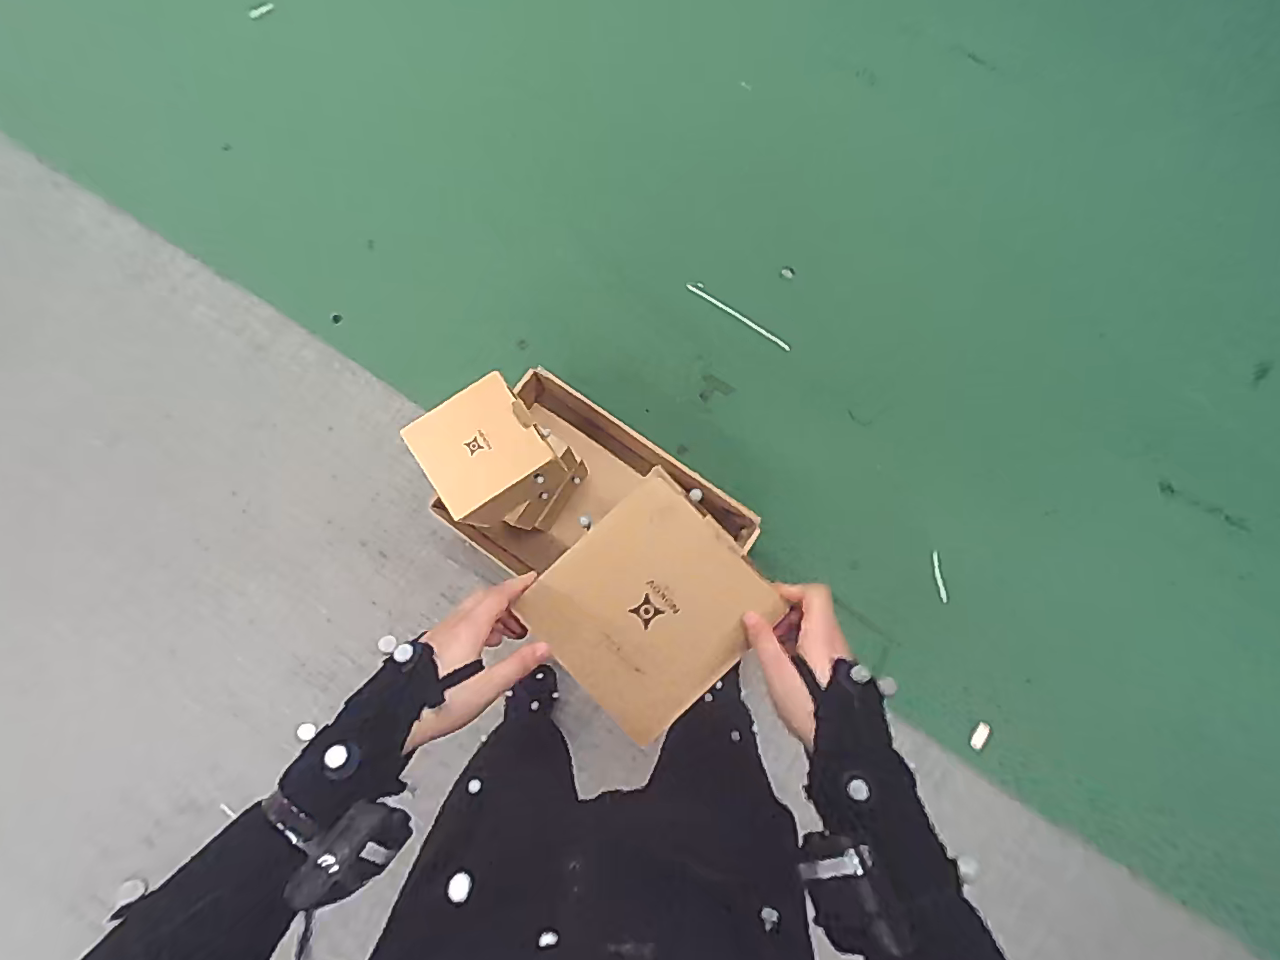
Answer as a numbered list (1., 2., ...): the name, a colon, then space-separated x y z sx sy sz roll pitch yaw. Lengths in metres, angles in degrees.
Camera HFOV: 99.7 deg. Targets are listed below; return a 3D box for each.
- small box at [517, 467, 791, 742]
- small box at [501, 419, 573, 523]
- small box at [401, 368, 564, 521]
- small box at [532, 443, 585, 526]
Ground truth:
1. small box: 0.011 0.103 0.531 0.179 0.176 0.168 -44 90 1
2. small box: -0.242 -0.032 1.040 0.168 0.176 0.179 34 82 3
3. small box: -0.241 -0.046 0.878 0.179 0.176 0.168 -33 84 -6
4. small box: -0.234 -0.014 1.202 0.168 0.176 0.179 33 82 4
